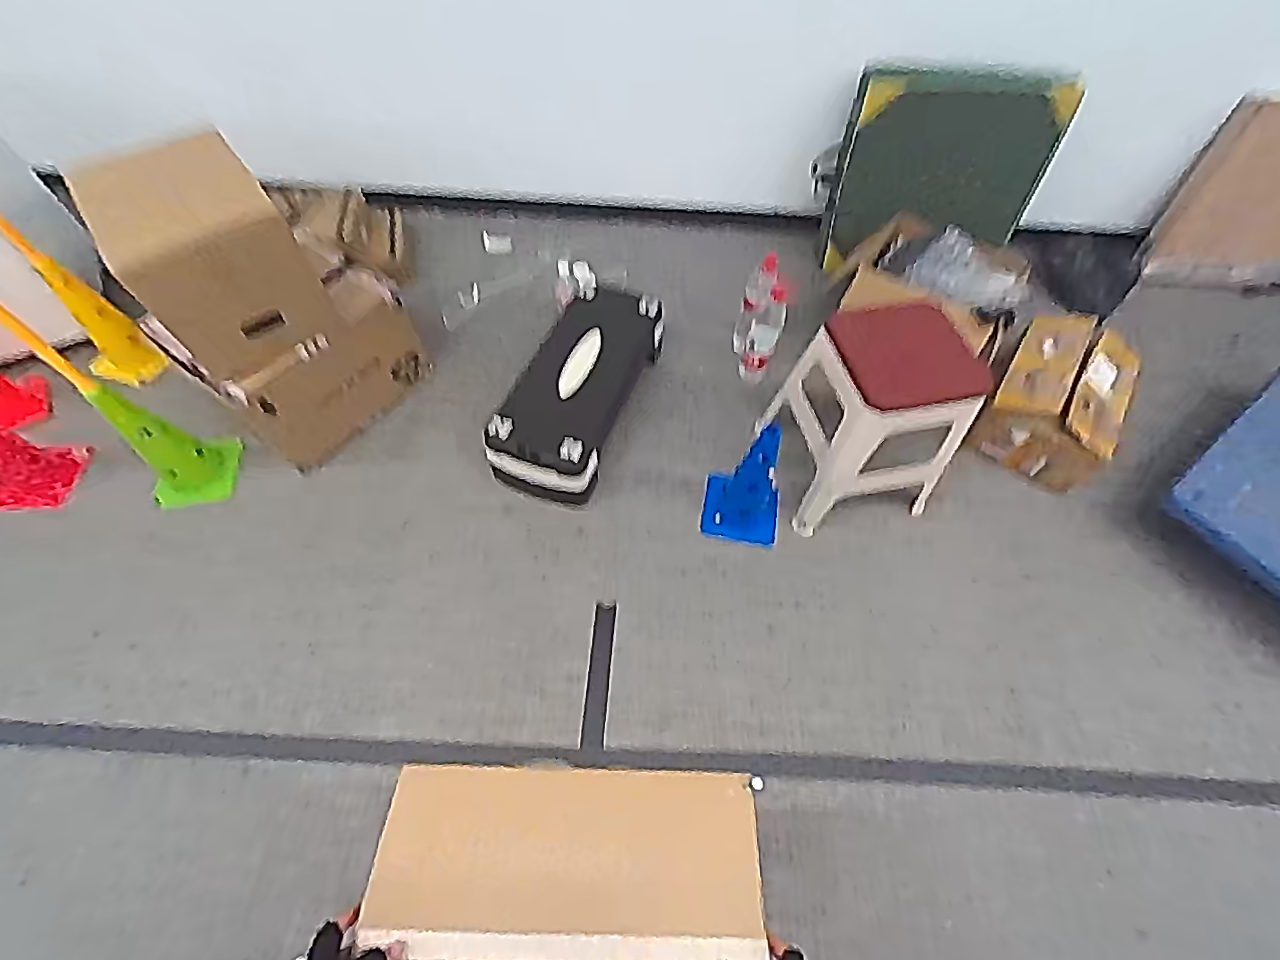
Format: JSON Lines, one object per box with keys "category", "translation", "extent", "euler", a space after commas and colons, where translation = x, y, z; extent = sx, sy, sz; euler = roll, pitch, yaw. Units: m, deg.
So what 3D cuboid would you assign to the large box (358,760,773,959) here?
{"category": "large box", "translation": [-0.073, 0.542, 0.638], "extent": [0.408, 0.320, 0.320], "euler": [2, 50, 0]}
